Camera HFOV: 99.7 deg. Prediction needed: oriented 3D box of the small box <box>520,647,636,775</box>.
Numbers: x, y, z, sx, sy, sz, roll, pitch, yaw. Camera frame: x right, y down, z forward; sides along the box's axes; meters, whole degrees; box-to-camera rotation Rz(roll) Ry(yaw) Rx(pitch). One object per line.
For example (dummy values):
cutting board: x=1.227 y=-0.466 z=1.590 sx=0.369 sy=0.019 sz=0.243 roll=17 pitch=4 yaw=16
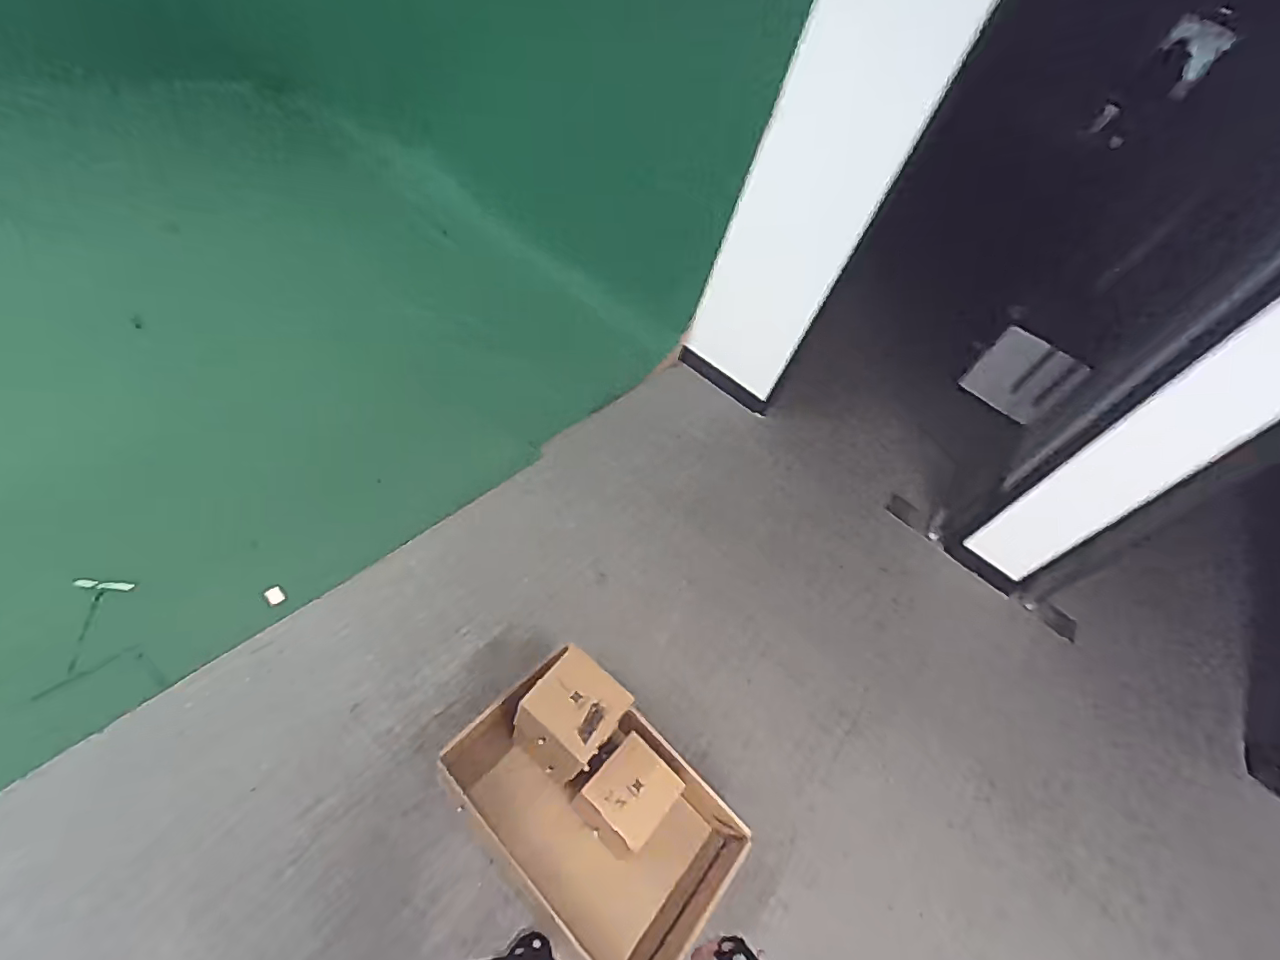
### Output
small box: x=-0.137 y=0.497 z=1.153 sx=0.179 sy=0.176 sz=0.168 roll=38 pitch=52 yaw=15

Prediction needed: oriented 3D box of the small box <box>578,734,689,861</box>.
small box: x=-0.023 y=0.719 z=1.225 sx=0.168 sy=0.176 sz=0.179 roll=41 pitch=52 yaw=18
